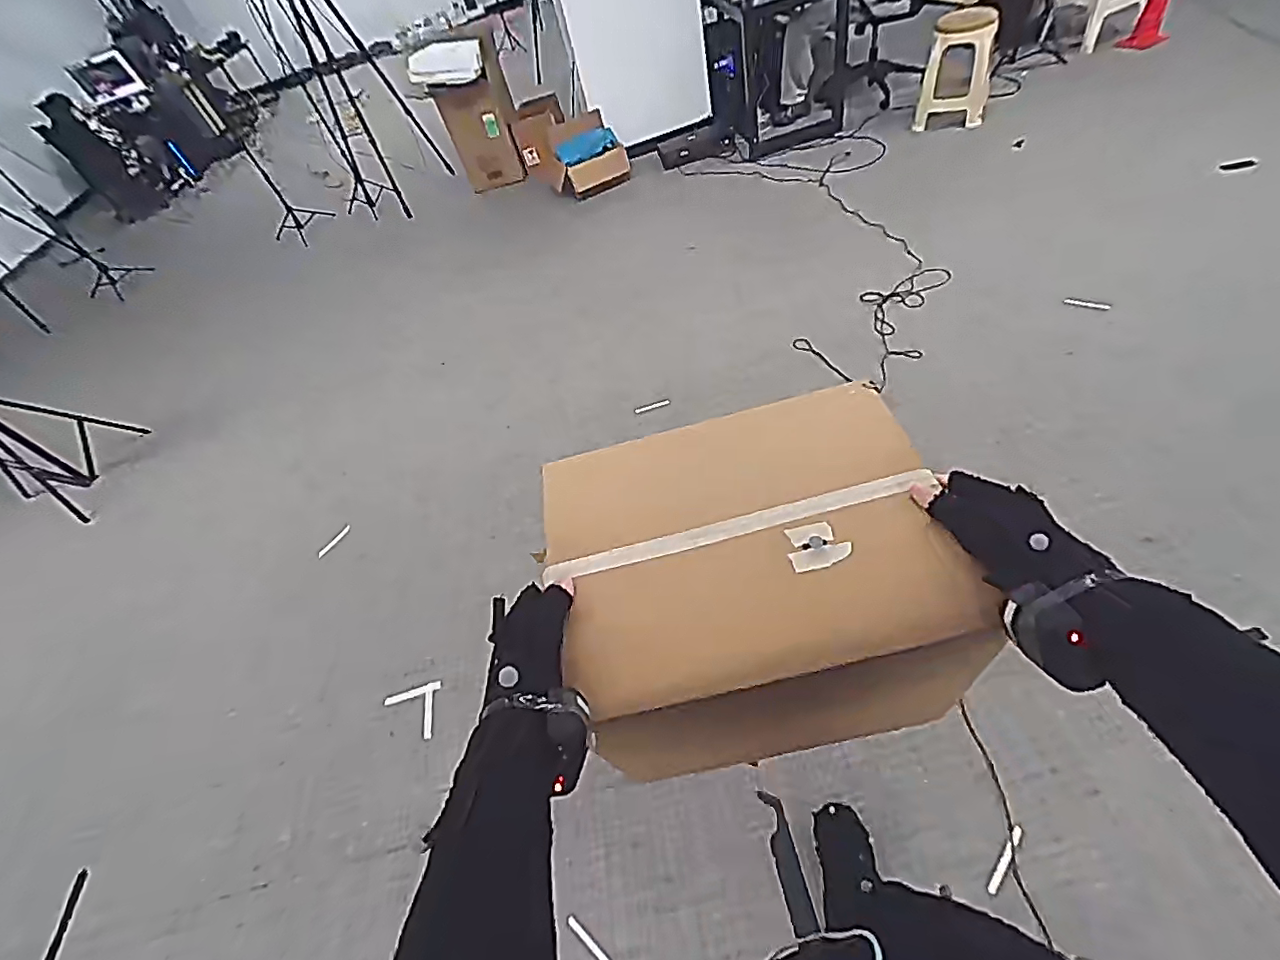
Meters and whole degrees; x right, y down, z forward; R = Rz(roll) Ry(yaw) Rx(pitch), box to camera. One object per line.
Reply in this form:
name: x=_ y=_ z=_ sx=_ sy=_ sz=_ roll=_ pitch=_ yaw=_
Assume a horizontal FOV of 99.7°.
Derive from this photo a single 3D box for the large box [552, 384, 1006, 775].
large box: x=0.134 y=0.138 z=0.688 sx=0.408 sy=0.320 sz=0.320 roll=-15 pitch=52 yaw=3
